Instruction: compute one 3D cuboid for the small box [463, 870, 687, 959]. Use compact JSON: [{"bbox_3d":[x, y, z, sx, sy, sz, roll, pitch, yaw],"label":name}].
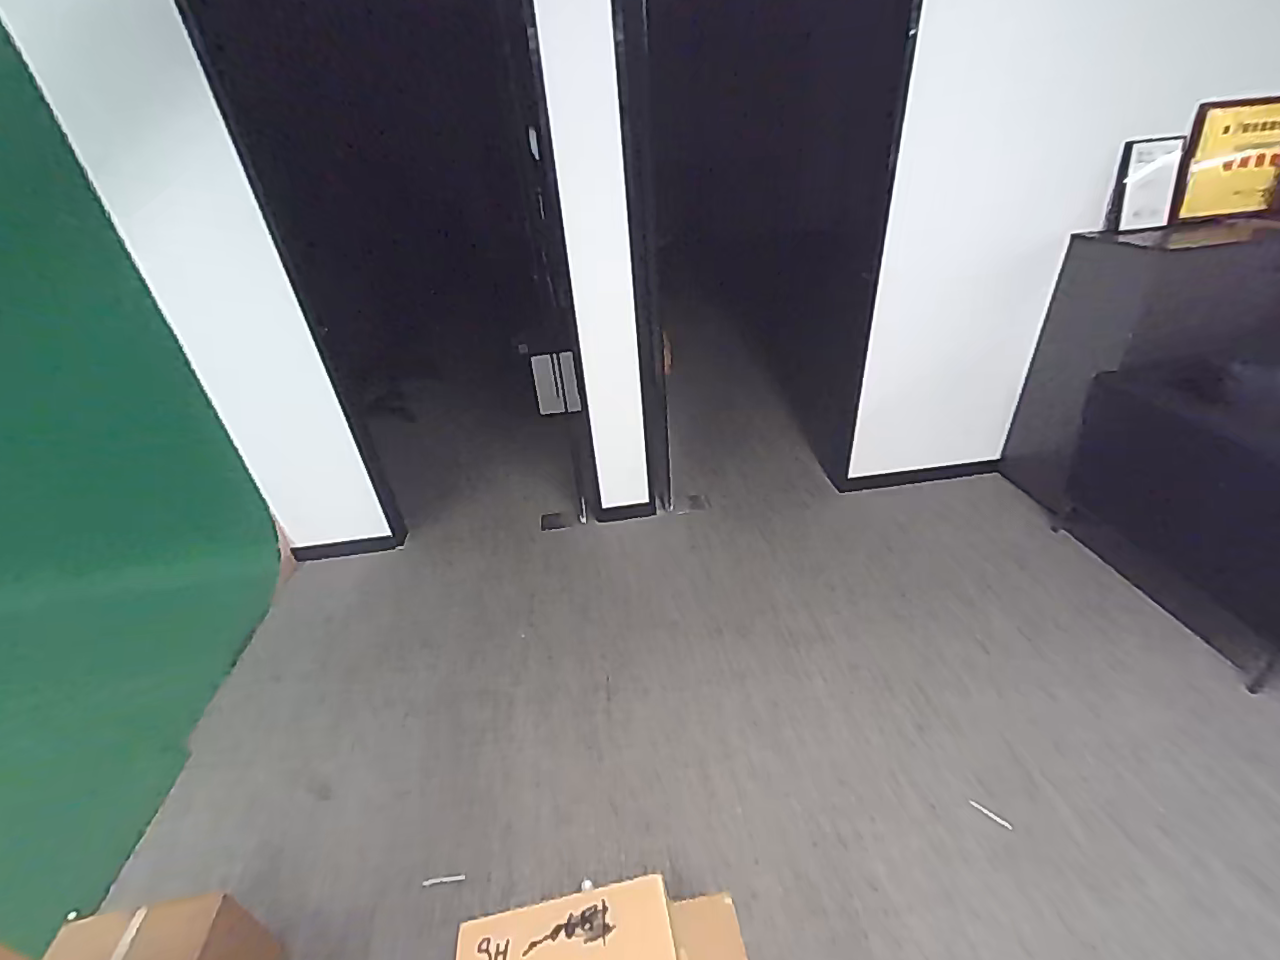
[{"bbox_3d":[-0.035,0.446,0.419,0.168,0.176,0.179,-11,39,-5],"label":"small box"}]
